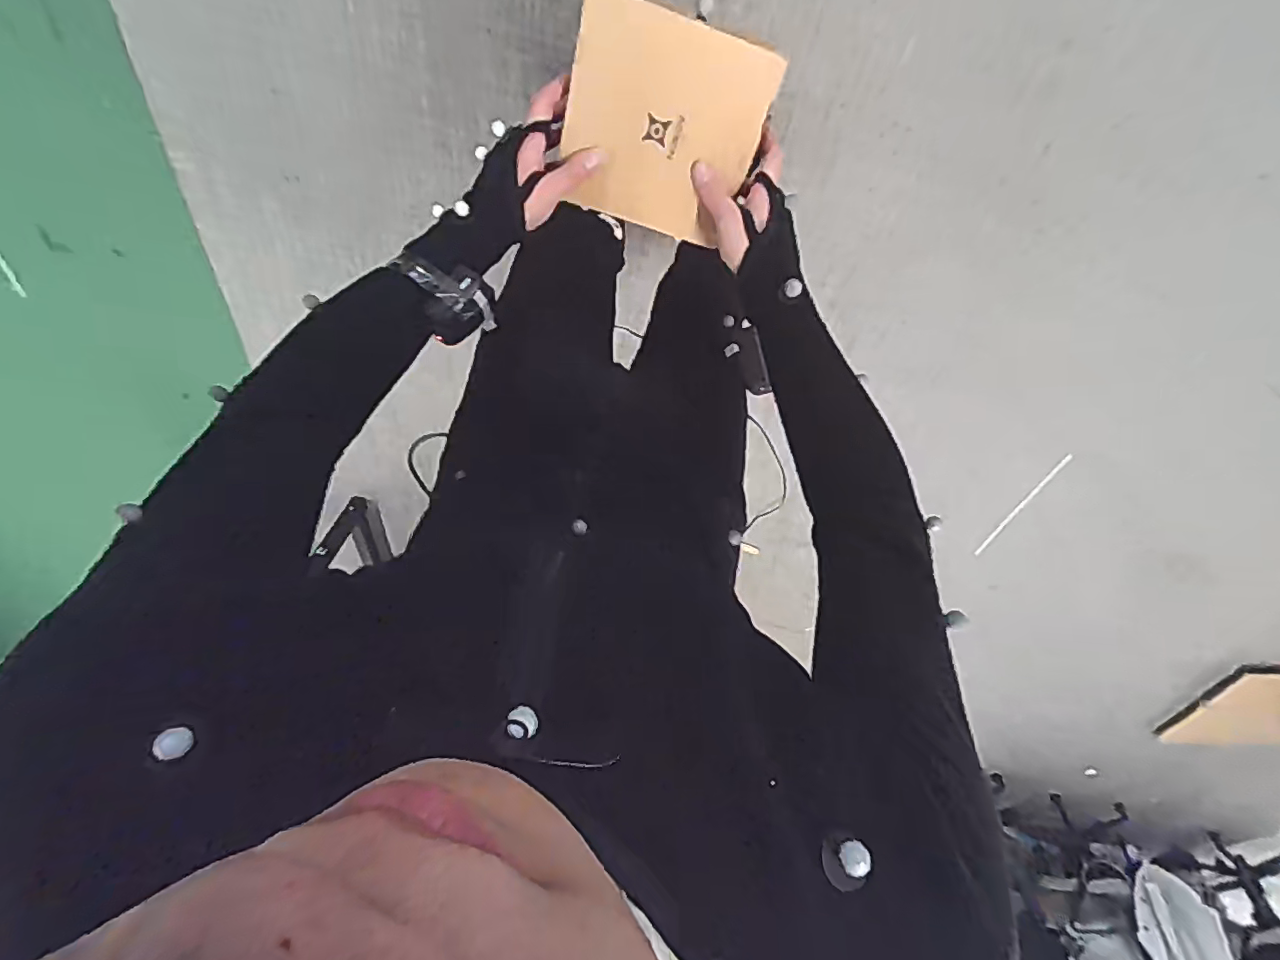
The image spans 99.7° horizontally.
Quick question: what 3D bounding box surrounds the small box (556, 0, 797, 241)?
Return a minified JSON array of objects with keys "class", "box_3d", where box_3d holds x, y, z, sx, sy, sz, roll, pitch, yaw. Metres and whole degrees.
[{"class":"small box","box_3d":[0.026,-0.373,0.541,0.179,0.176,0.168,13,133,-11]}]
